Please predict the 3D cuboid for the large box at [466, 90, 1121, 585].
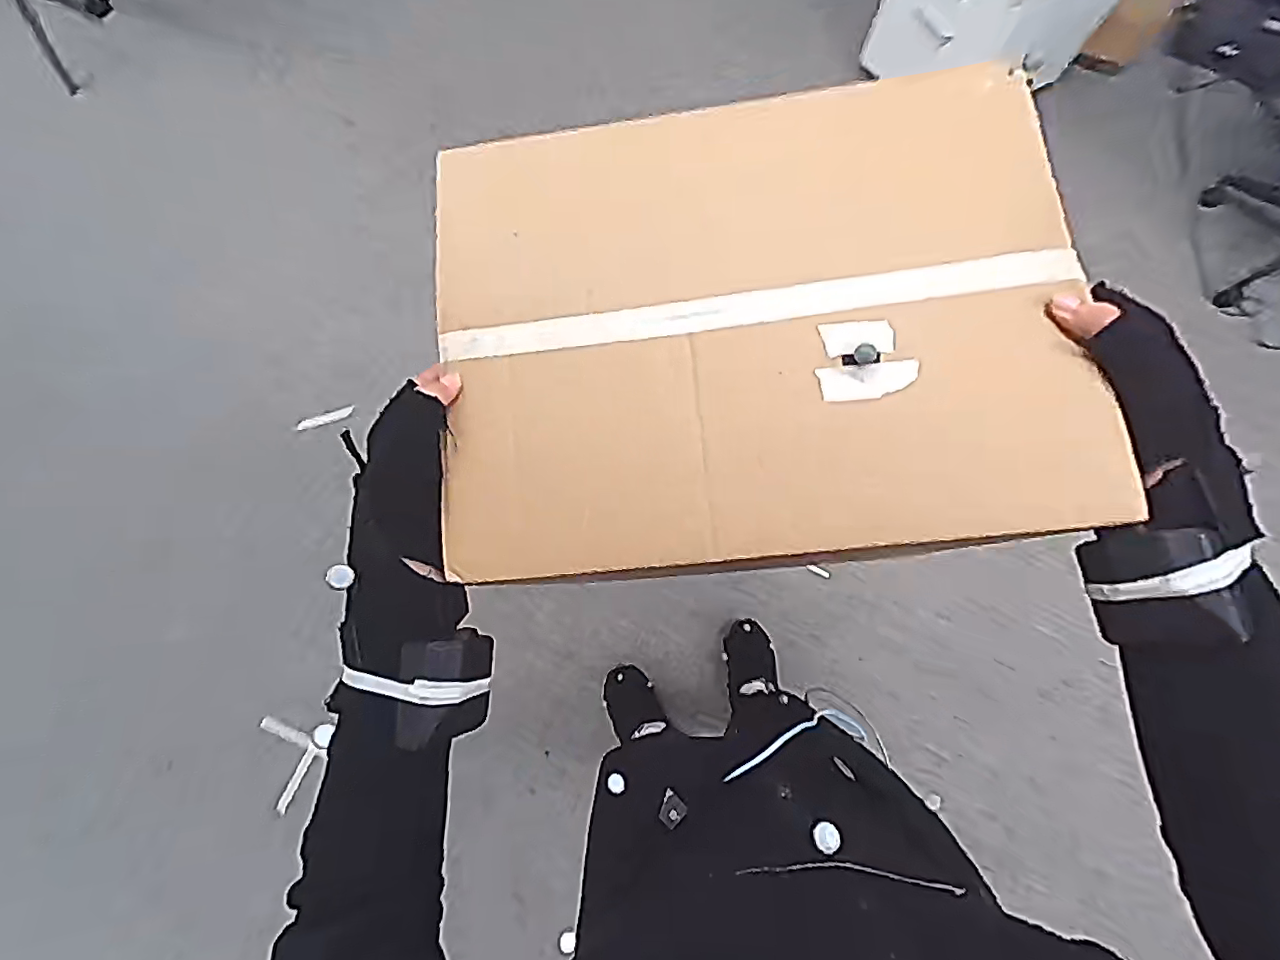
[{"bbox_3d":[0.089,-0.076,0.509,0.408,0.320,0.320,-5,79,5],"label":"large box"}]
